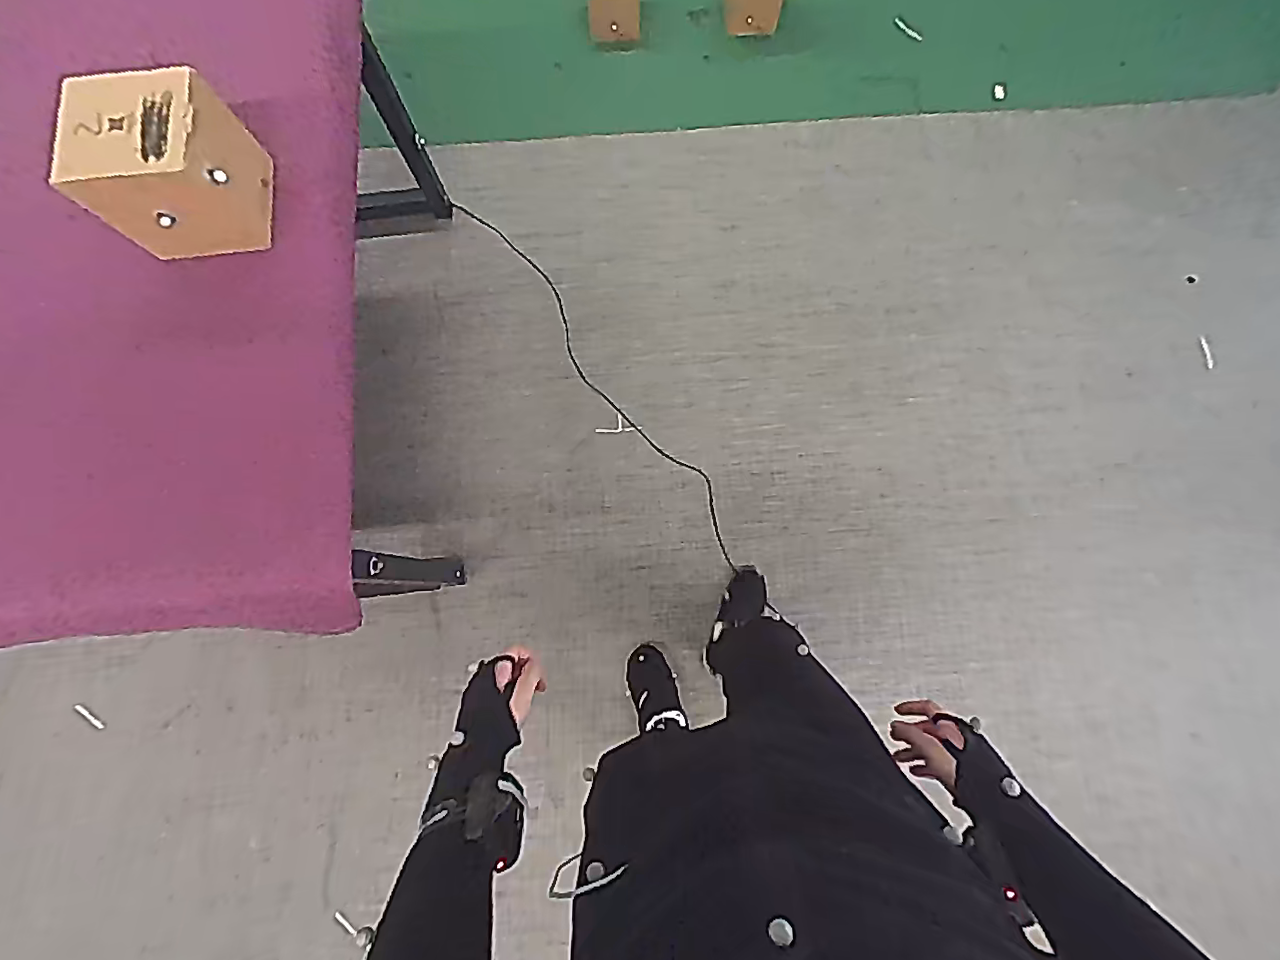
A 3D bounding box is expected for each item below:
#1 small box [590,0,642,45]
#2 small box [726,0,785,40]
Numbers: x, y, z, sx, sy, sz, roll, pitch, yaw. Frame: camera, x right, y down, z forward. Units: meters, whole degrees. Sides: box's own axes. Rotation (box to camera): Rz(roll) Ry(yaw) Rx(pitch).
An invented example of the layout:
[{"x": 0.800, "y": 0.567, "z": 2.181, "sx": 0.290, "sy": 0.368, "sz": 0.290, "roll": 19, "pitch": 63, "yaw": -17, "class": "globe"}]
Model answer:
[{"x": -0.079, "y": -1.572, "z": 1.764, "sx": 0.168, "sy": 0.176, "sz": 0.179, "roll": -3, "pitch": 78, "yaw": 0, "class": "small box"}, {"x": 0.378, "y": -1.597, "z": 1.771, "sx": 0.168, "sy": 0.176, "sz": 0.179, "roll": -2, "pitch": 79, "yaw": -1, "class": "small box"}]
